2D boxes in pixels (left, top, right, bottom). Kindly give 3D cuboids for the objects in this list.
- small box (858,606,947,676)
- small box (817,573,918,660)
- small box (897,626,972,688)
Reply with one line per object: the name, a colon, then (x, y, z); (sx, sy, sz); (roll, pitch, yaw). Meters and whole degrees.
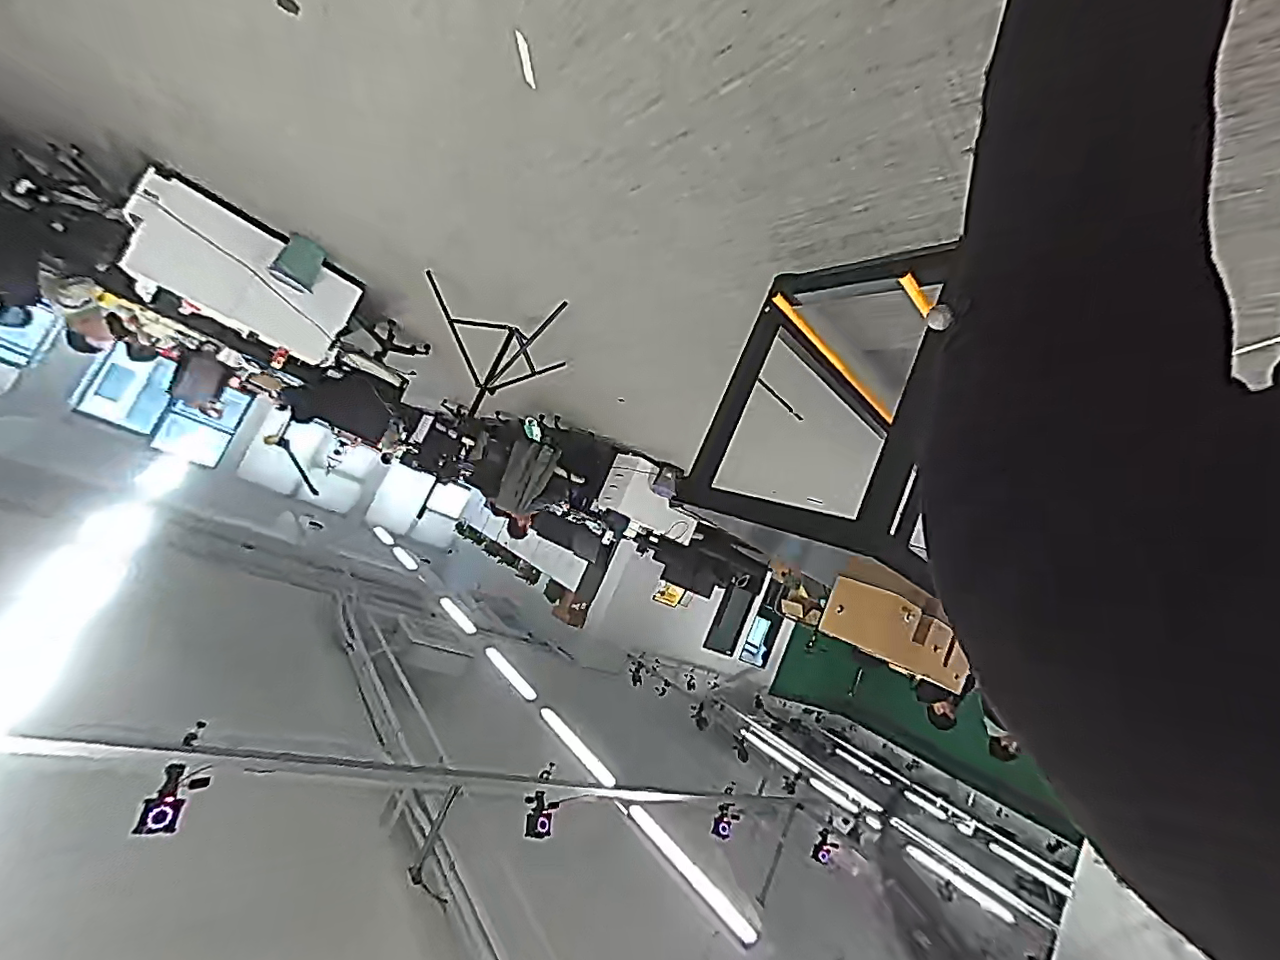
small box: (0.792, 0.461, 1.619); (0.168, 0.176, 0.179); (30, 170, -37)
small box: (0.624, 0.366, 1.479); (0.168, 0.176, 0.179); (27, 172, -36)
small box: (0.950, 0.551, 1.764); (0.179, 0.176, 0.168); (30, 170, -37)
